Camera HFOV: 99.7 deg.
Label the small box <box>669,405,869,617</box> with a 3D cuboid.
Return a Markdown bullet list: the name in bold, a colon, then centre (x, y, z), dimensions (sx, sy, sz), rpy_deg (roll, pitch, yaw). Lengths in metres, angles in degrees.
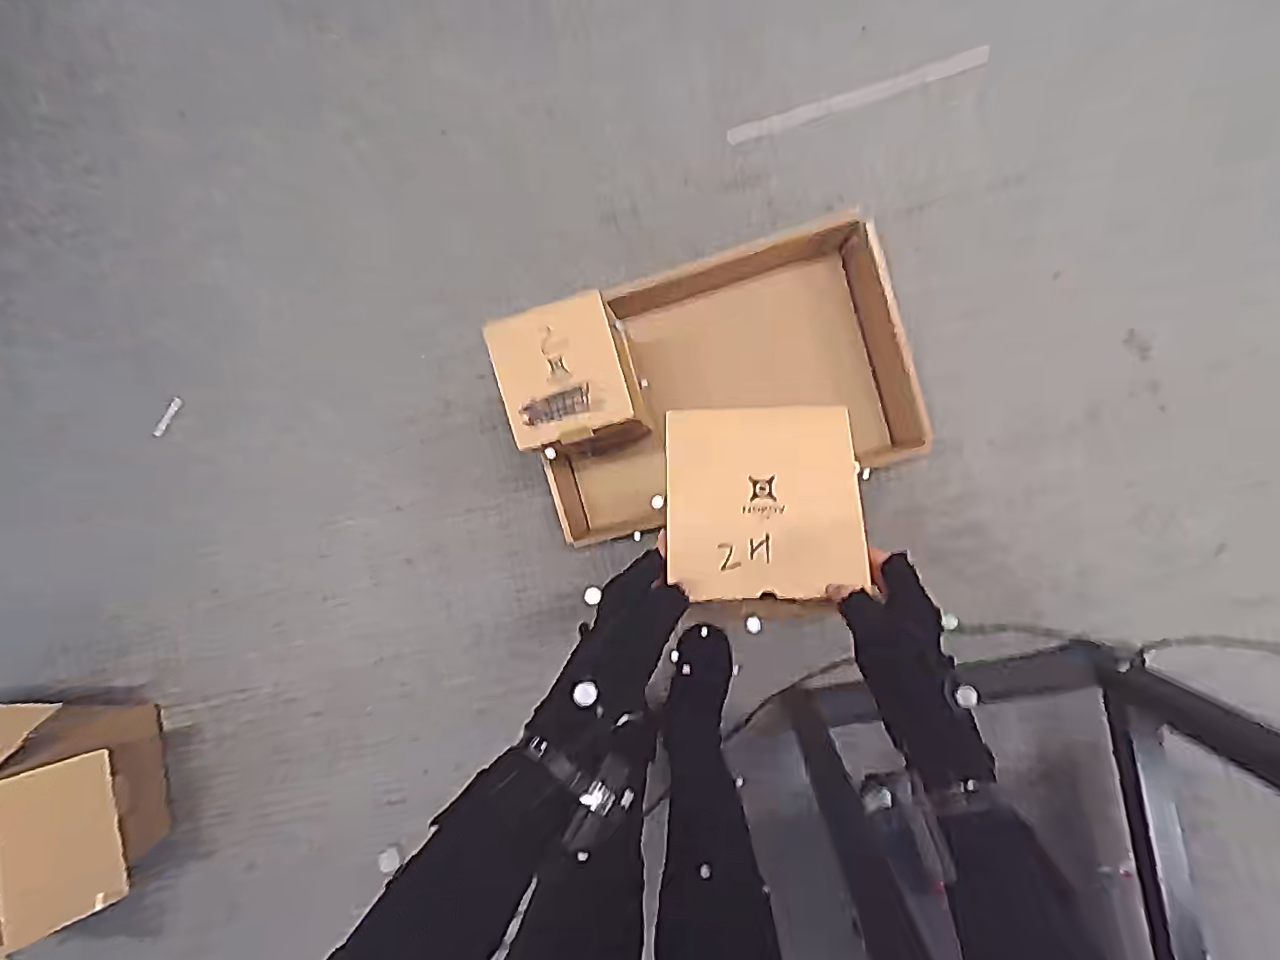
- **small box**: centre (0.114, 0.039, 0.552), dimensions (0.168, 0.176, 0.179), rpy_deg (0, 70, 4)
